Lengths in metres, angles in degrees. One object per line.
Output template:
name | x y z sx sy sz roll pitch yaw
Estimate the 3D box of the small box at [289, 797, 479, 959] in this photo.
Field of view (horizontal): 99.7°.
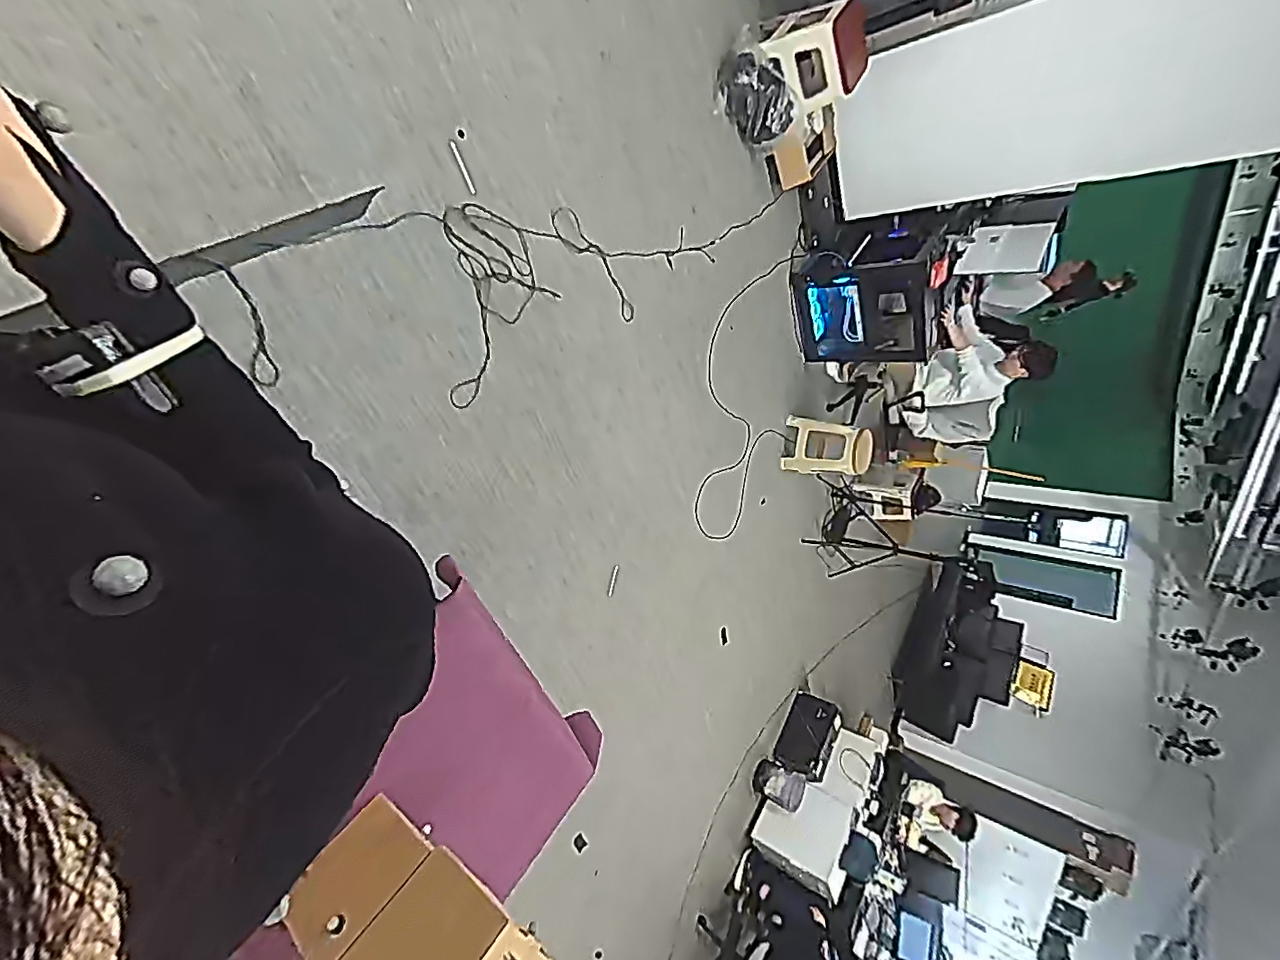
small box | -0.382 0.623 0.801 0.179 0.176 0.168 -44 129 -36
